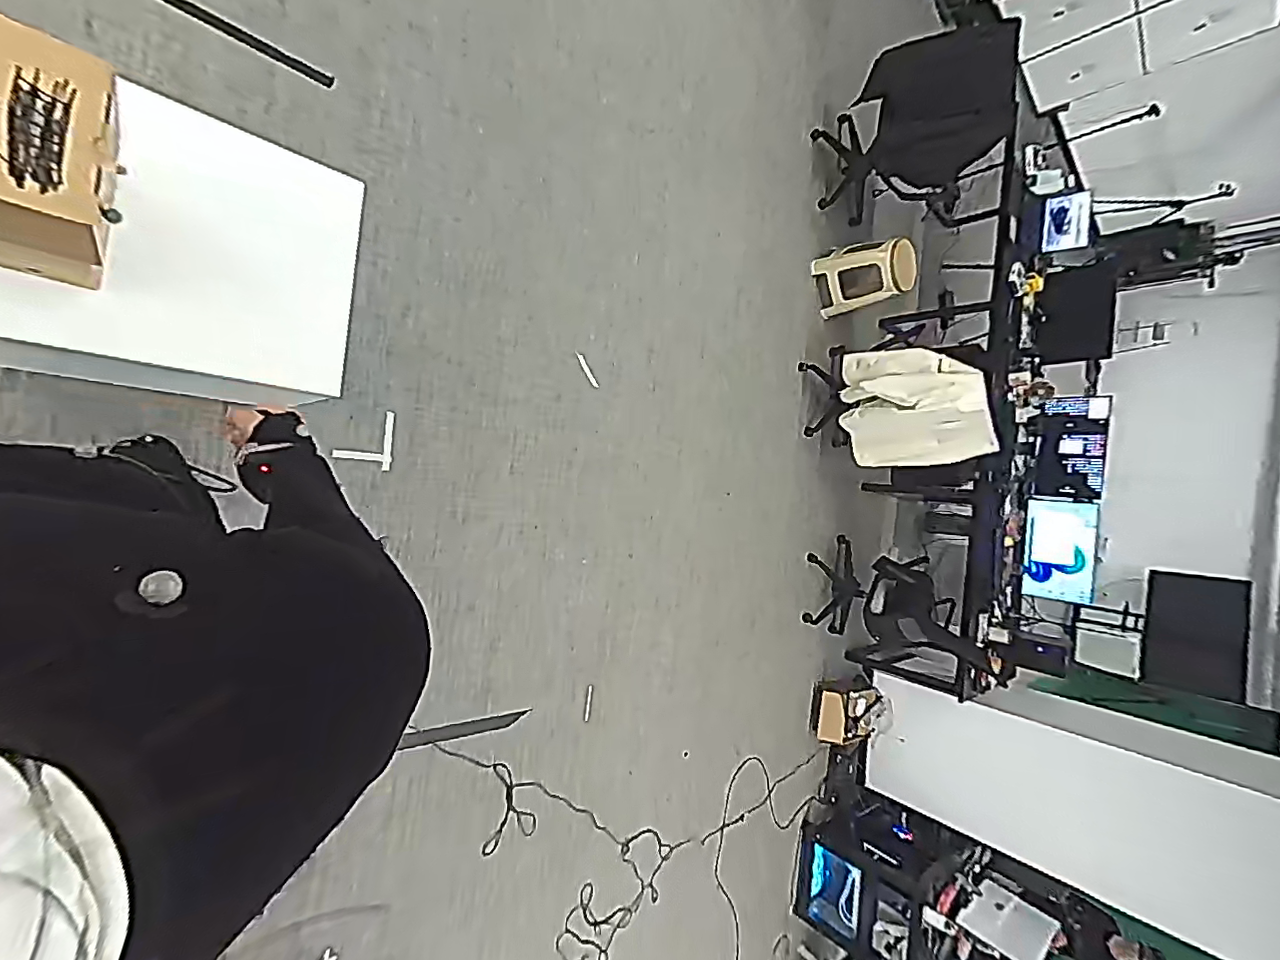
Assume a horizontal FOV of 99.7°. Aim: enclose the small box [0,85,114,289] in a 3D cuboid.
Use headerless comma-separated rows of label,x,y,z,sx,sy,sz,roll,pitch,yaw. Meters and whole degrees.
small box,-0.760,-0.350,0.652,0.168,0.176,0.179,8,87,-44
